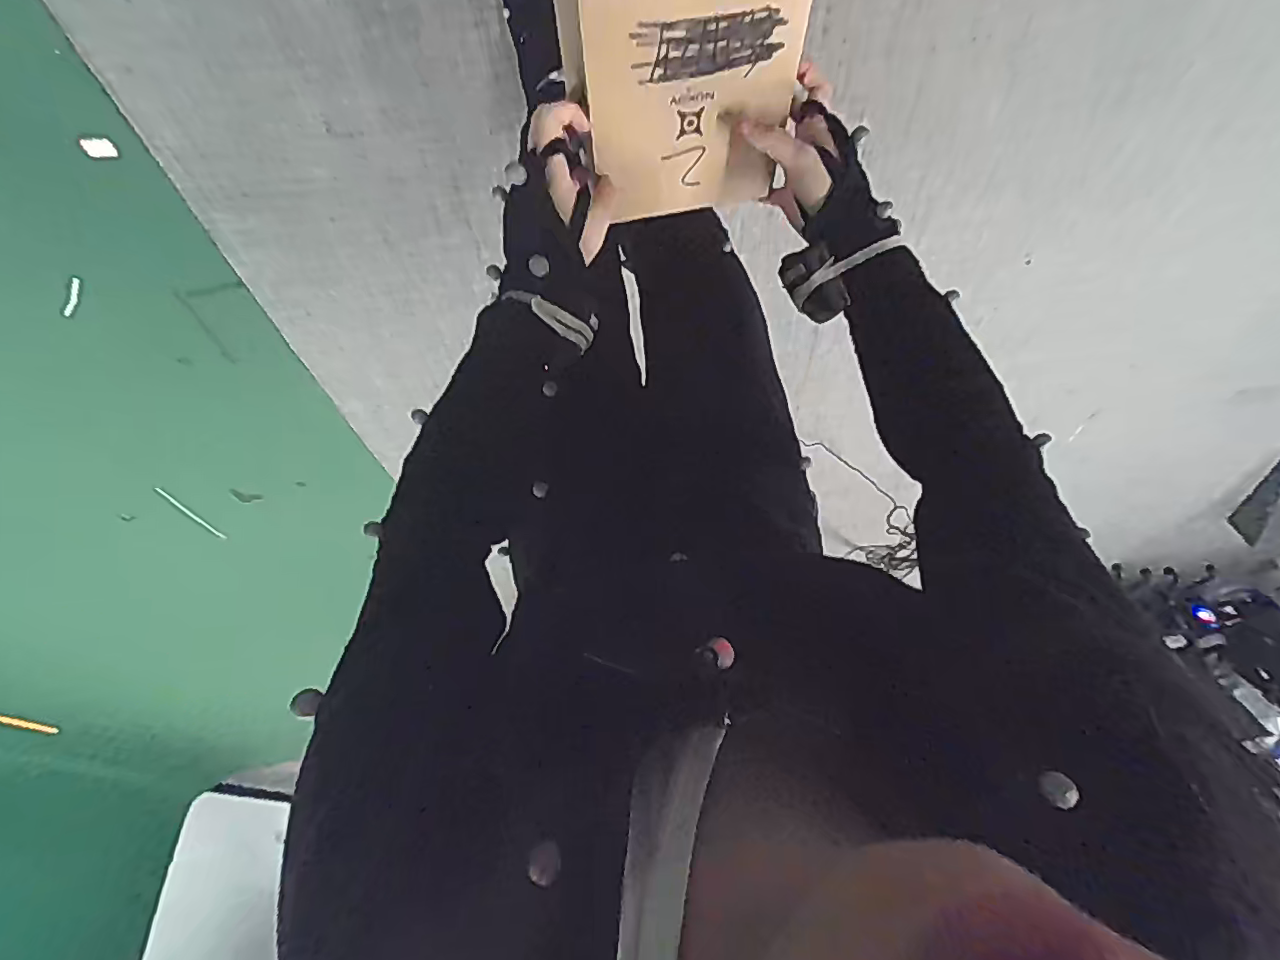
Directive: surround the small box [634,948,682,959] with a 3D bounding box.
[{"bbox_3d":[0.075,1.859,2.000,0.168,0.176,0.179,-1,142,-11],"label":"small box"}]
